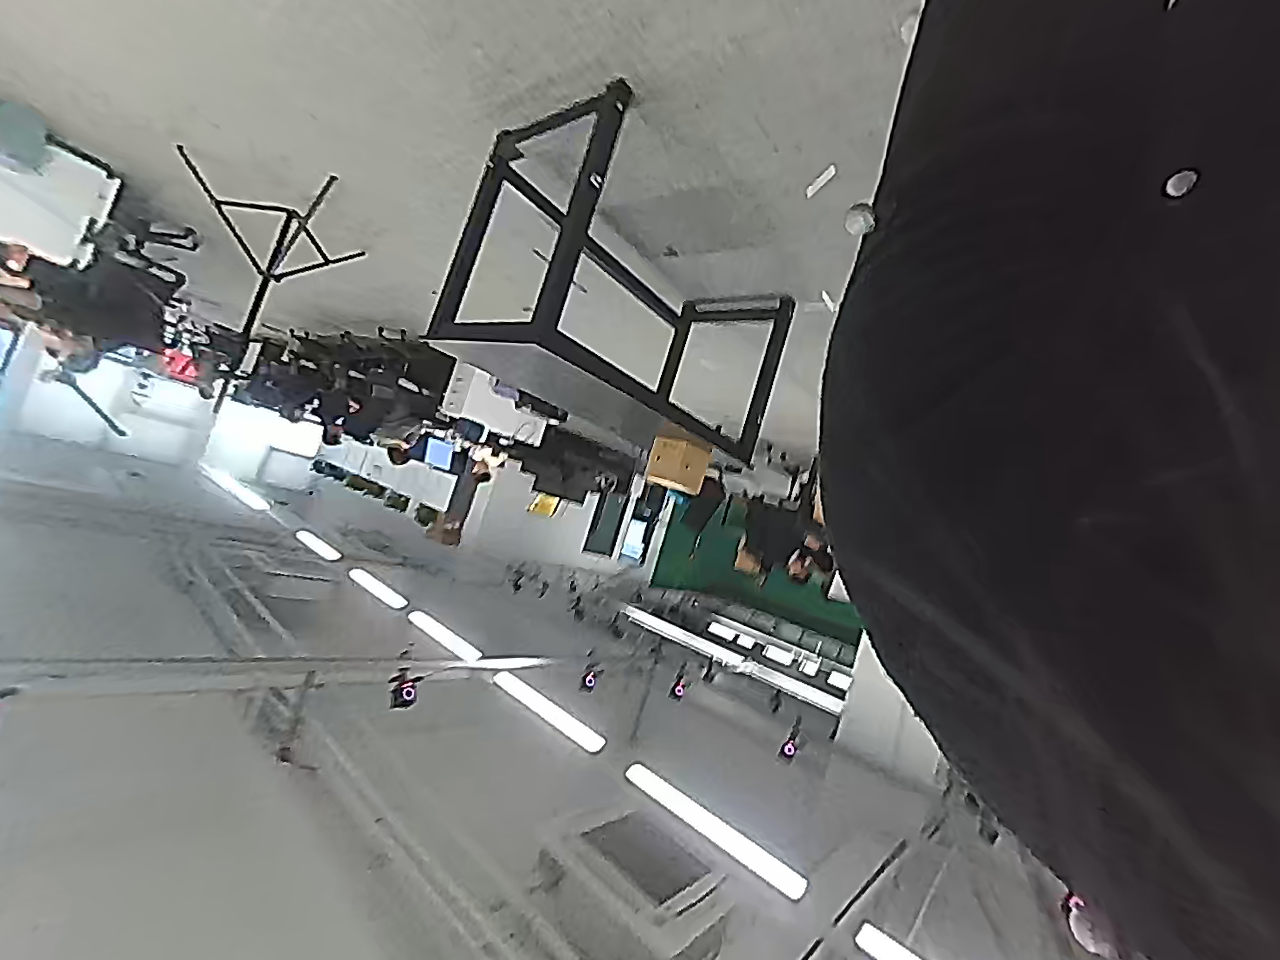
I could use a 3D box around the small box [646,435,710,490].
[{"bbox_3d":[0.154,-0.072,2.160,0.168,0.176,0.179,15,176,43],"label":"small box"}]
